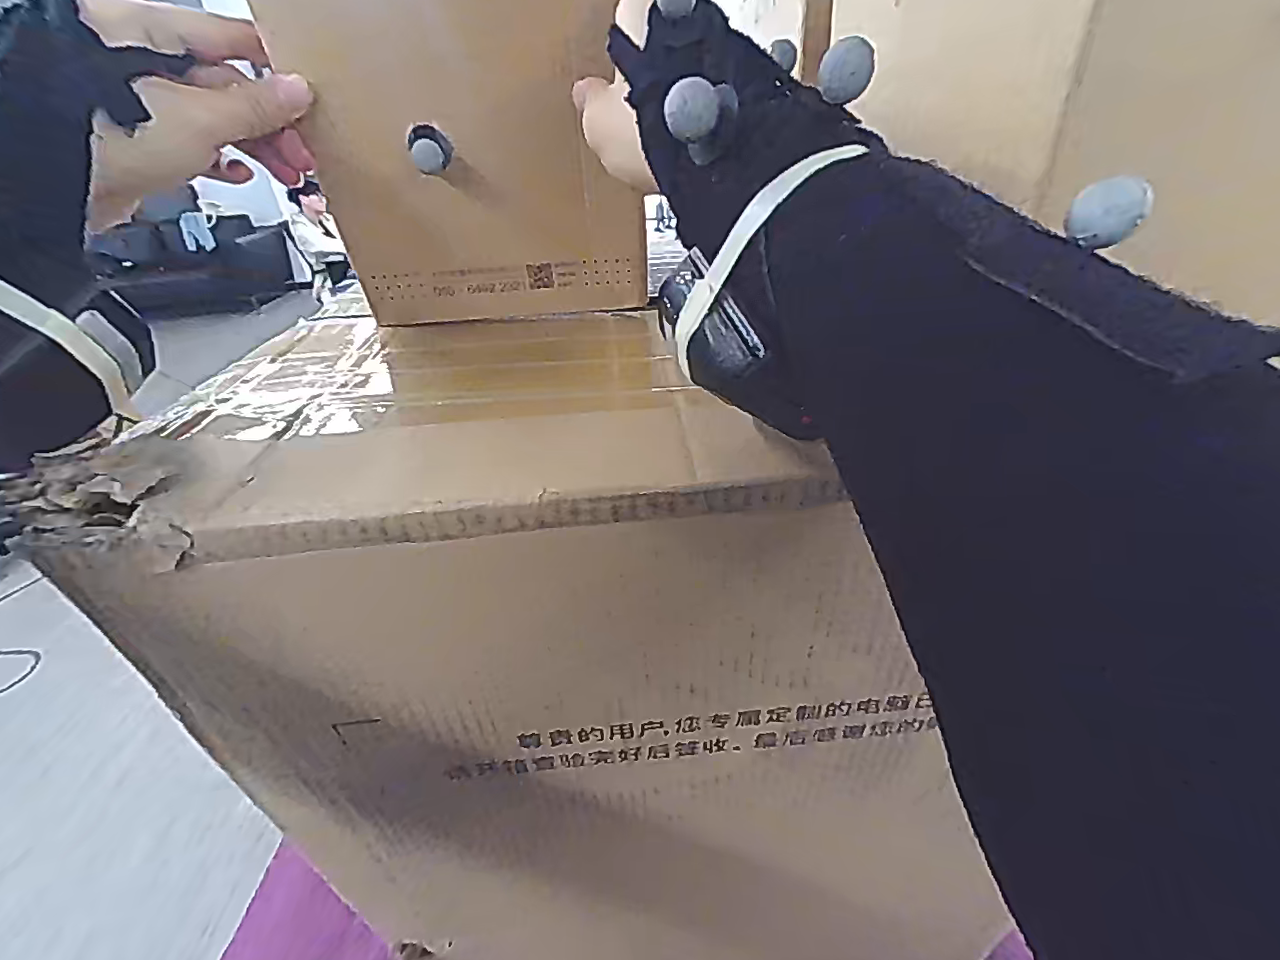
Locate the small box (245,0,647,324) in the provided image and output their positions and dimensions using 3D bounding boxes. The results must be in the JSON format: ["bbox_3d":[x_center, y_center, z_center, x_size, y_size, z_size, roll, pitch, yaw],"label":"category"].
[{"bbox_3d":[-0.086,-0.208,0.339,0.168,0.176,0.179,-5,42,-2],"label":"small box"}]
